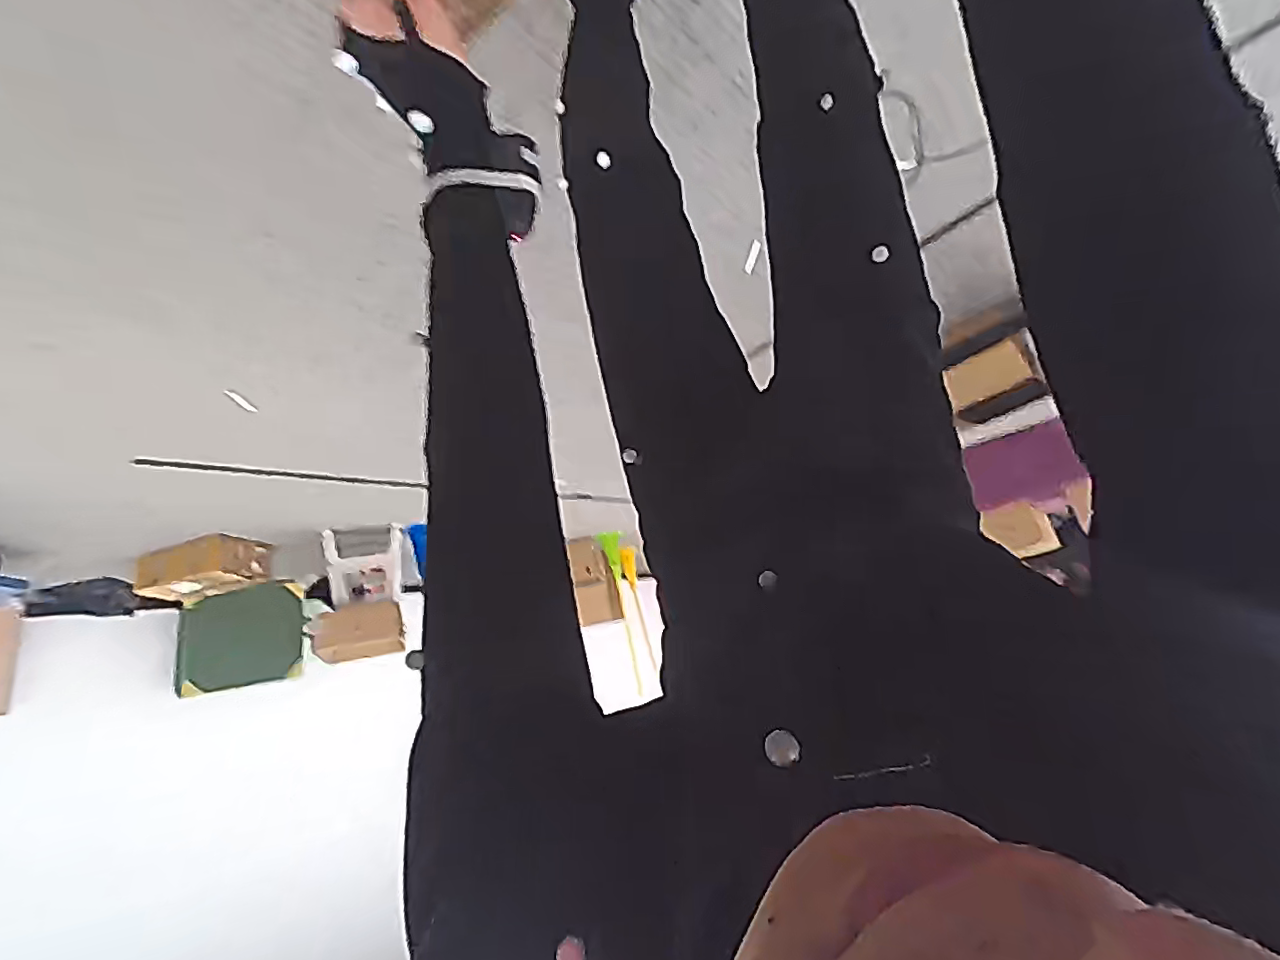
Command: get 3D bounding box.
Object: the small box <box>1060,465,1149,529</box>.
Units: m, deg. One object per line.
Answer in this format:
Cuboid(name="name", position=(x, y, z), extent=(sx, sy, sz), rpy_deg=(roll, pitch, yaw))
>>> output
Cuboid(name="small box", position=(1.575, 0.058, 1.834), extent=(0.168, 0.176, 0.179), rpy_deg=(7, 153, -44))
